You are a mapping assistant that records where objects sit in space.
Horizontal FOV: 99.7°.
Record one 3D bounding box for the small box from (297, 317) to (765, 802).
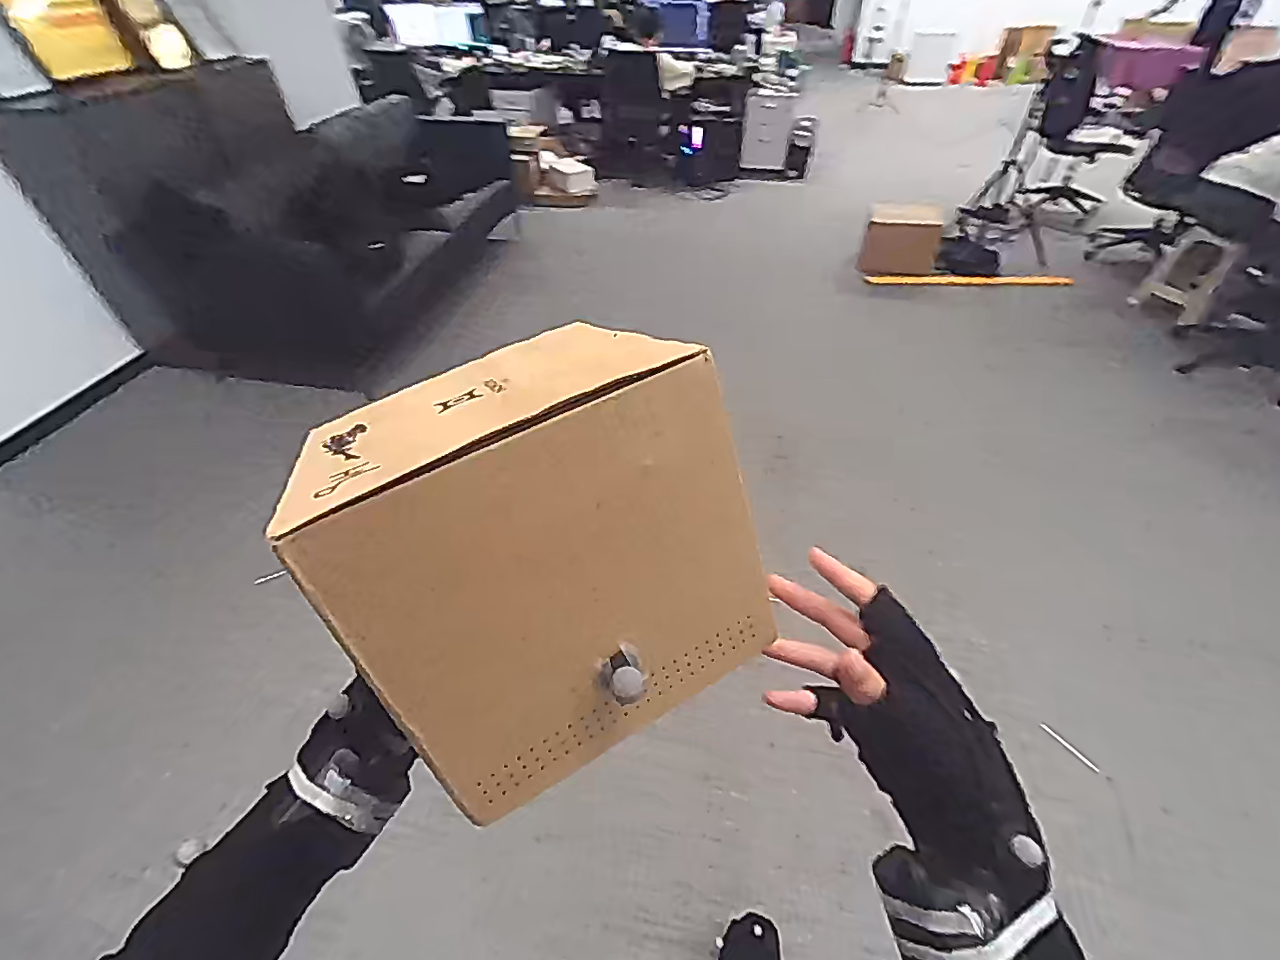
[{"bbox_3d":[-0.048,0.024,0.300,0.179,0.176,0.168,-25,27,-16],"label":"small box"}]
